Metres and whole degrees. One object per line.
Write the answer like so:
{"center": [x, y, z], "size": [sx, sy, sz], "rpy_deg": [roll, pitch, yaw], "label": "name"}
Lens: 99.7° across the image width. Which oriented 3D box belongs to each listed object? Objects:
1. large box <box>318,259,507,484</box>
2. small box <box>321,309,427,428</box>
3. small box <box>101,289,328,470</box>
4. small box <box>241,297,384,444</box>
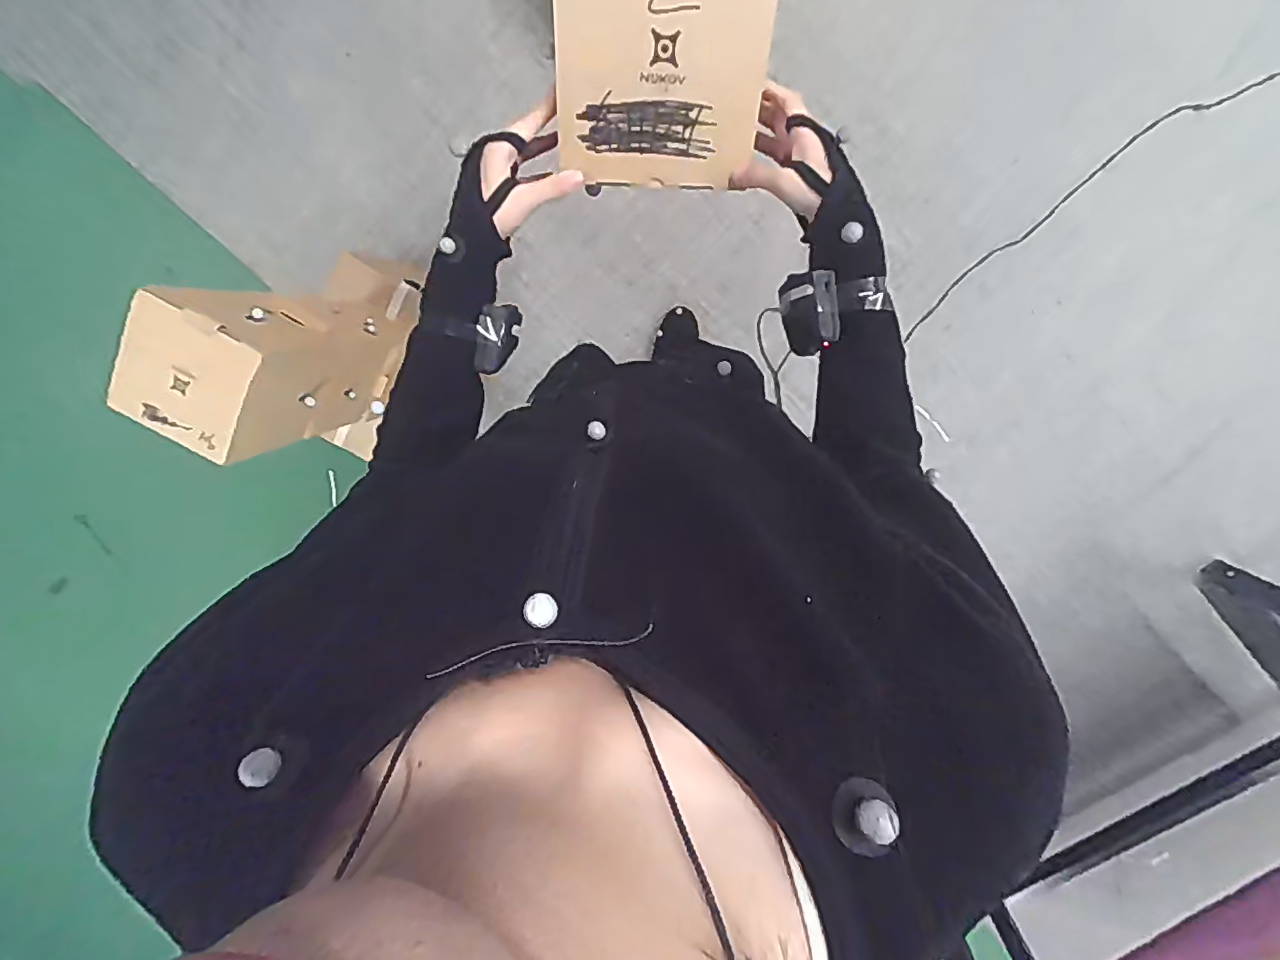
{"center": [-0.580, -0.269, 1.328], "size": [0.320, 0.320, 0.408], "rpy_deg": [30, 107, -4], "label": "large box"}
{"center": [-0.562, -0.230, 1.084], "size": [0.179, 0.176, 0.168], "rpy_deg": [31, 105, -5], "label": "small box"}
{"center": [-0.584, -0.144, 0.768], "size": [0.168, 0.176, 0.179], "rpy_deg": [31, 104, -5], "label": "small box"}
{"center": [-0.572, -0.190, 0.925], "size": [0.168, 0.176, 0.179], "rpy_deg": [30, 106, -5], "label": "small box"}
